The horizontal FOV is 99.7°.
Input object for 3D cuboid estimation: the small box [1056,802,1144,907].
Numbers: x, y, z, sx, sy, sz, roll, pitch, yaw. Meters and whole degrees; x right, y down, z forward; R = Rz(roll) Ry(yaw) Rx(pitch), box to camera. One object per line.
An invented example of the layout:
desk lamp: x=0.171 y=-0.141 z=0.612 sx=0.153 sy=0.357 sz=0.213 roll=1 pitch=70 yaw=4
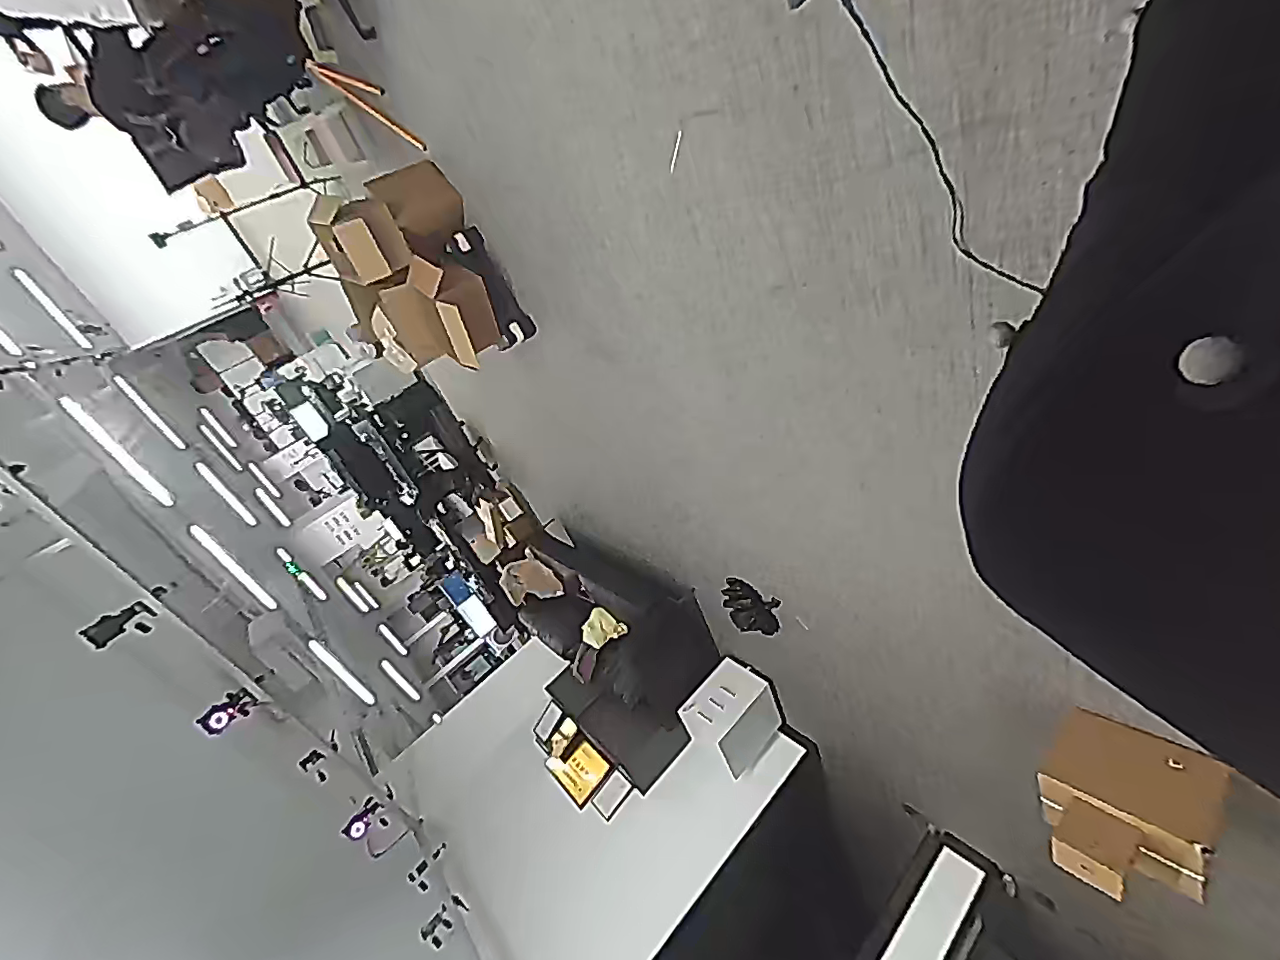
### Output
small box: x=1.432 y=1.155 z=1.681 sx=0.179 sy=0.176 sz=0.168 roll=16 pitch=136 yaw=53
